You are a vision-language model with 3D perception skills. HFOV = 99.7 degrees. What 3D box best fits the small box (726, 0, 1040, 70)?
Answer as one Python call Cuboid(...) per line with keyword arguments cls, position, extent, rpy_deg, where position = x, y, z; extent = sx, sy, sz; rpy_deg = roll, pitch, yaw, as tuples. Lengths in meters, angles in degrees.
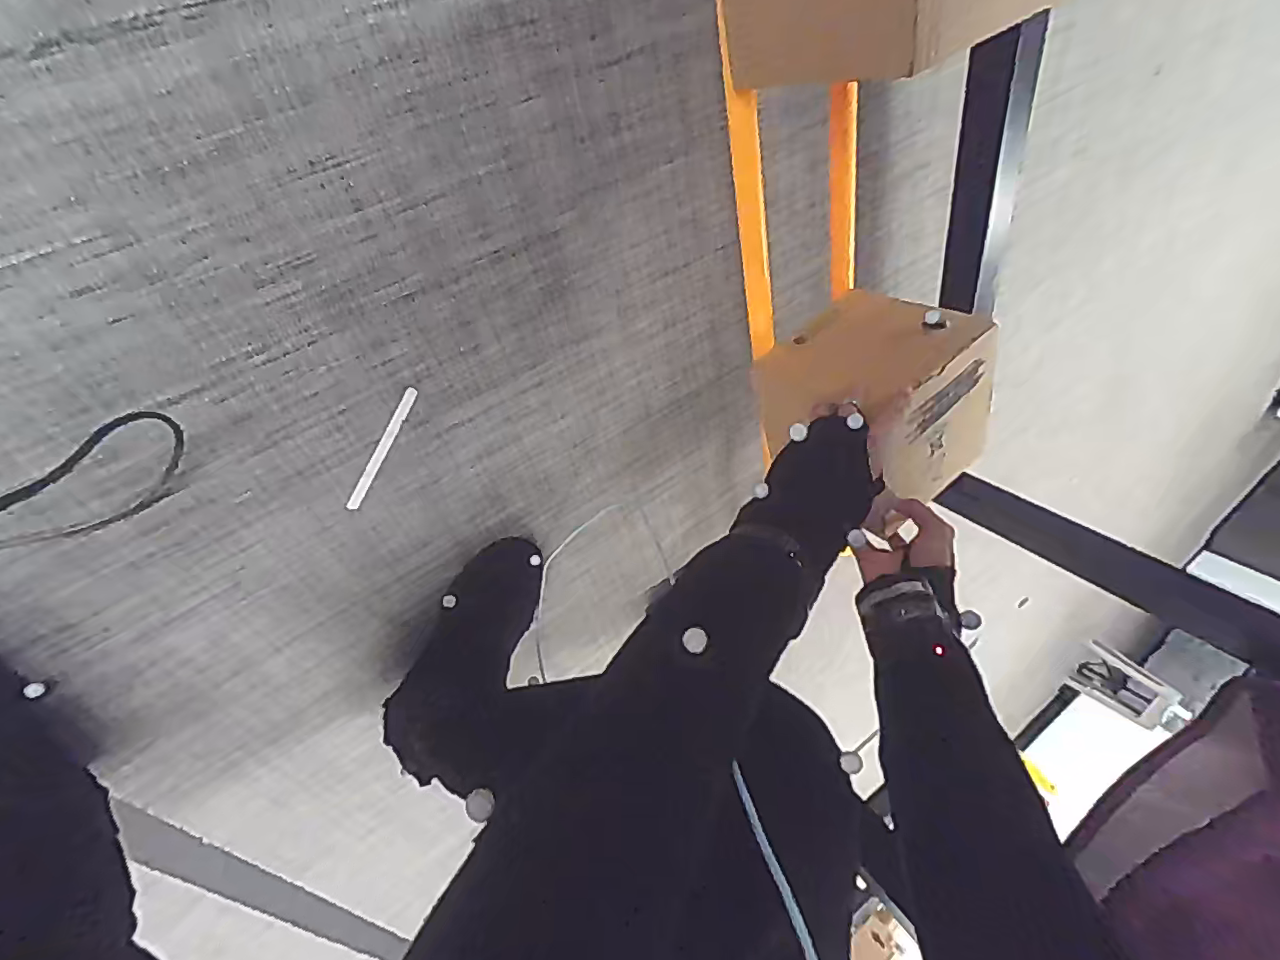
Cuboid(cls="small box", position=(0.159, -0.382, 0.329), extent=(0.168, 0.176, 0.179), rpy_deg=(-33, 134, -15))
